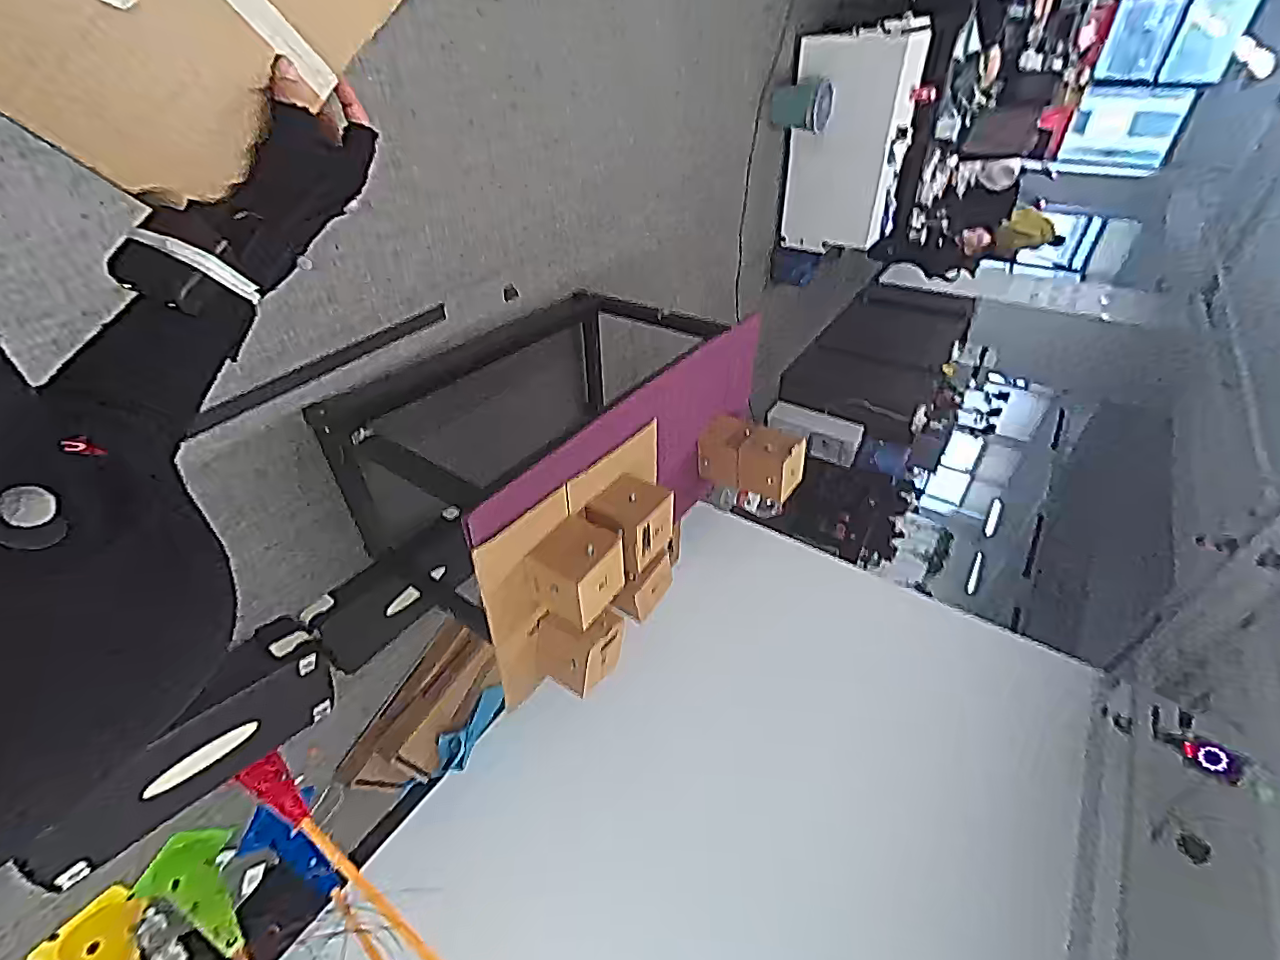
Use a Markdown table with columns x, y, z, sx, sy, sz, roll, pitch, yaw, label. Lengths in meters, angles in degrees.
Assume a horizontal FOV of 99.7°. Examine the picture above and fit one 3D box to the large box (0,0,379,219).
| x | y | z | sx | sy | sz | roll | pitch | yaw | label |
| --- | --- | --- | --- | --- | --- | --- | --- | --- | --- |
| -0.436 | -0.461 | 0.324 | 0.320 | 0.320 | 0.408 | -51 | 155 | 1 | large box |
